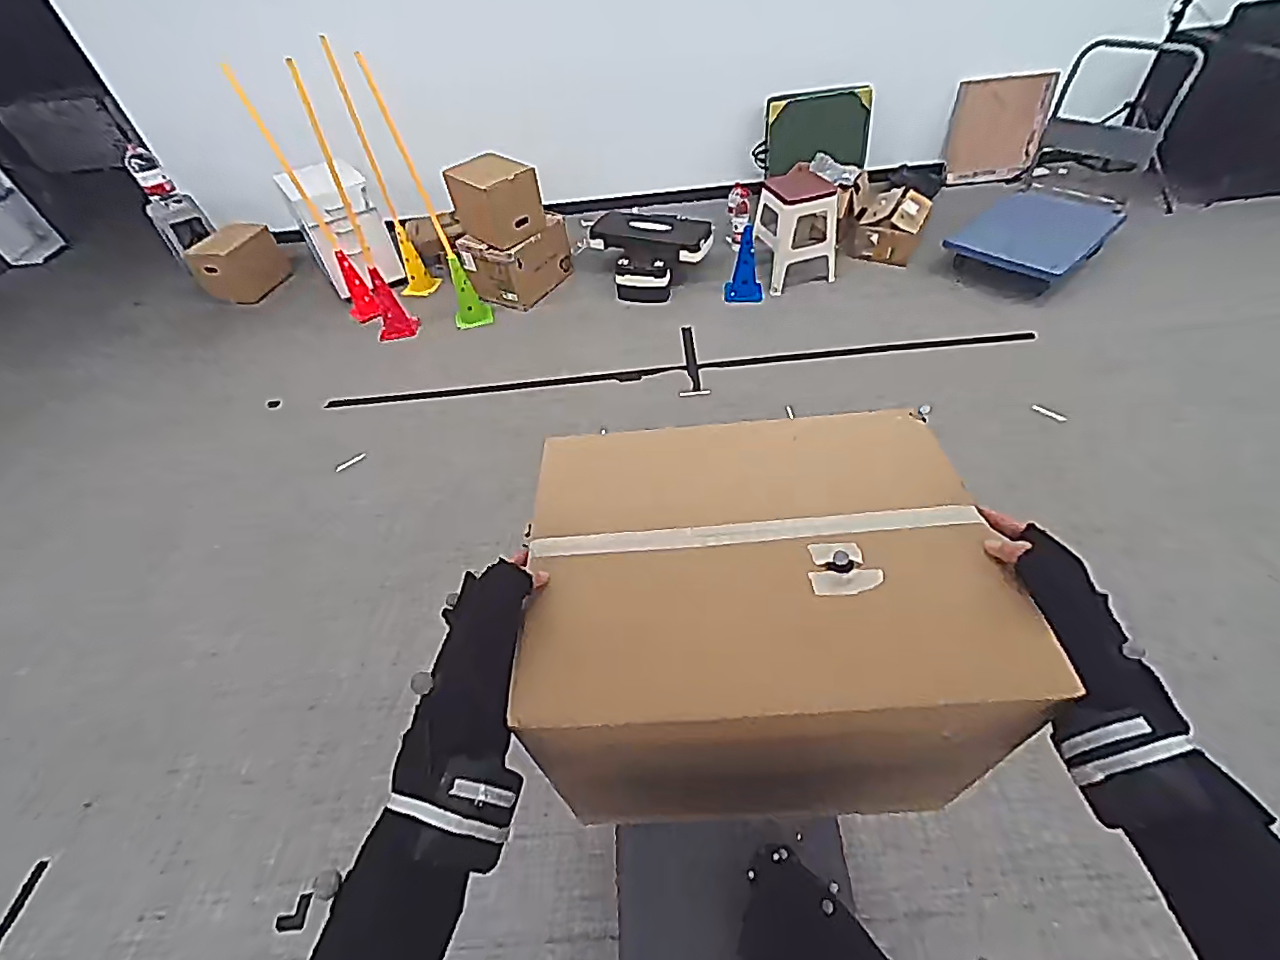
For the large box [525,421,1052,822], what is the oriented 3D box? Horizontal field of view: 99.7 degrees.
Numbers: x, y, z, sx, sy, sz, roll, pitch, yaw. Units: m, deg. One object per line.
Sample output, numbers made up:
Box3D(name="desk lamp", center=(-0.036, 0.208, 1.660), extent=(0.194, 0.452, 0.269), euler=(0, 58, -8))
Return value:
Box3D(name="large box", center=(0.114, 0.162, 0.610), extent=(0.408, 0.320, 0.320), euler=(-4, 46, 3))
